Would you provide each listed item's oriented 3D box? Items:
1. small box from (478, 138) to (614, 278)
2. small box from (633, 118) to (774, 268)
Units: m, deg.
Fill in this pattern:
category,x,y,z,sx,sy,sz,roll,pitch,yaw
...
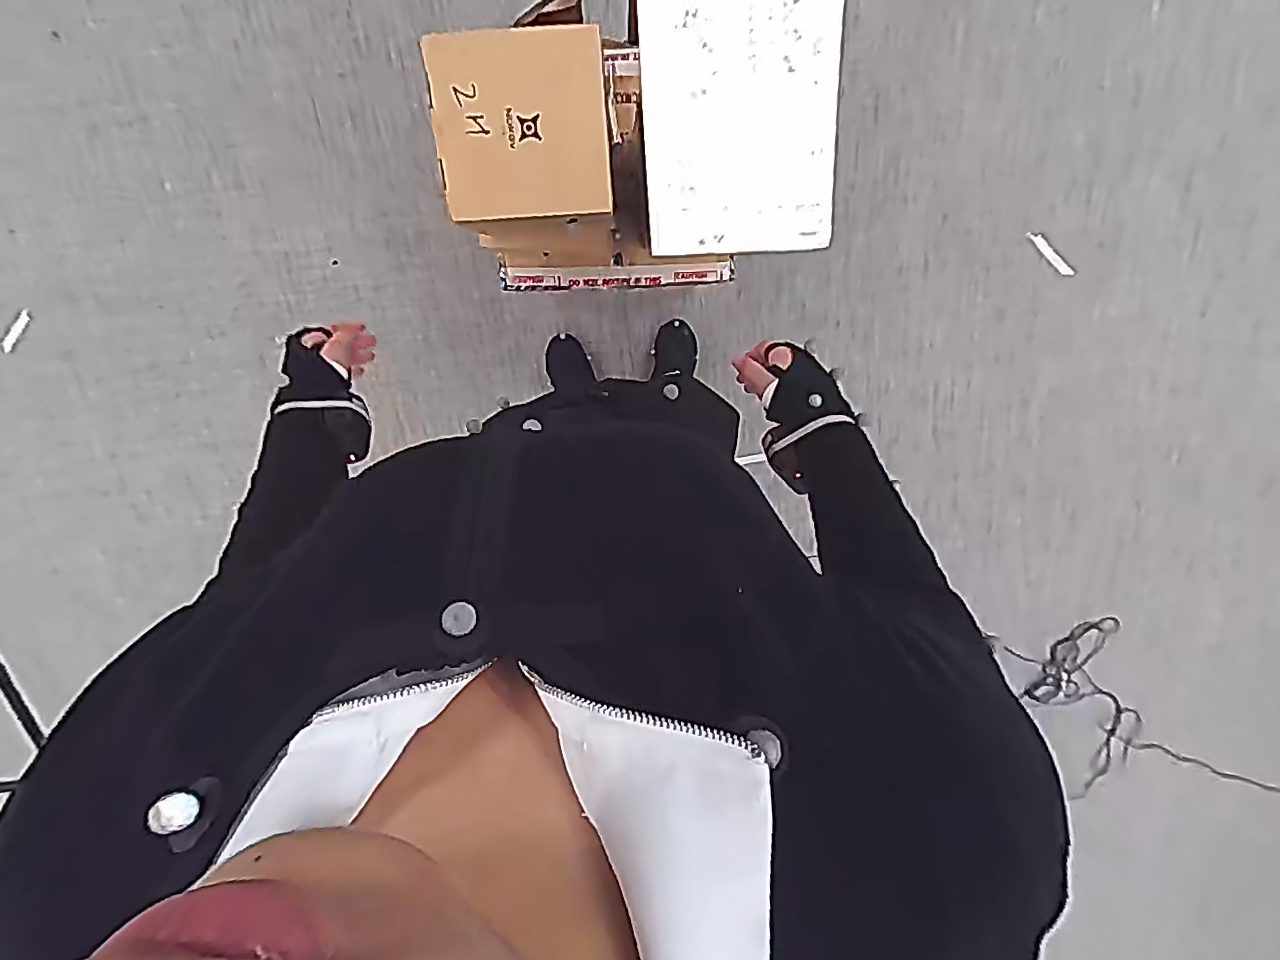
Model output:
category,x,y,z,sx,sy,sz,roll,pitch,yaw
small box,-0.127,-0.393,0.805,0.179,0.176,0.168,1,110,-1
small box,0.088,-0.415,0.807,0.179,0.176,0.168,-8,109,-1
